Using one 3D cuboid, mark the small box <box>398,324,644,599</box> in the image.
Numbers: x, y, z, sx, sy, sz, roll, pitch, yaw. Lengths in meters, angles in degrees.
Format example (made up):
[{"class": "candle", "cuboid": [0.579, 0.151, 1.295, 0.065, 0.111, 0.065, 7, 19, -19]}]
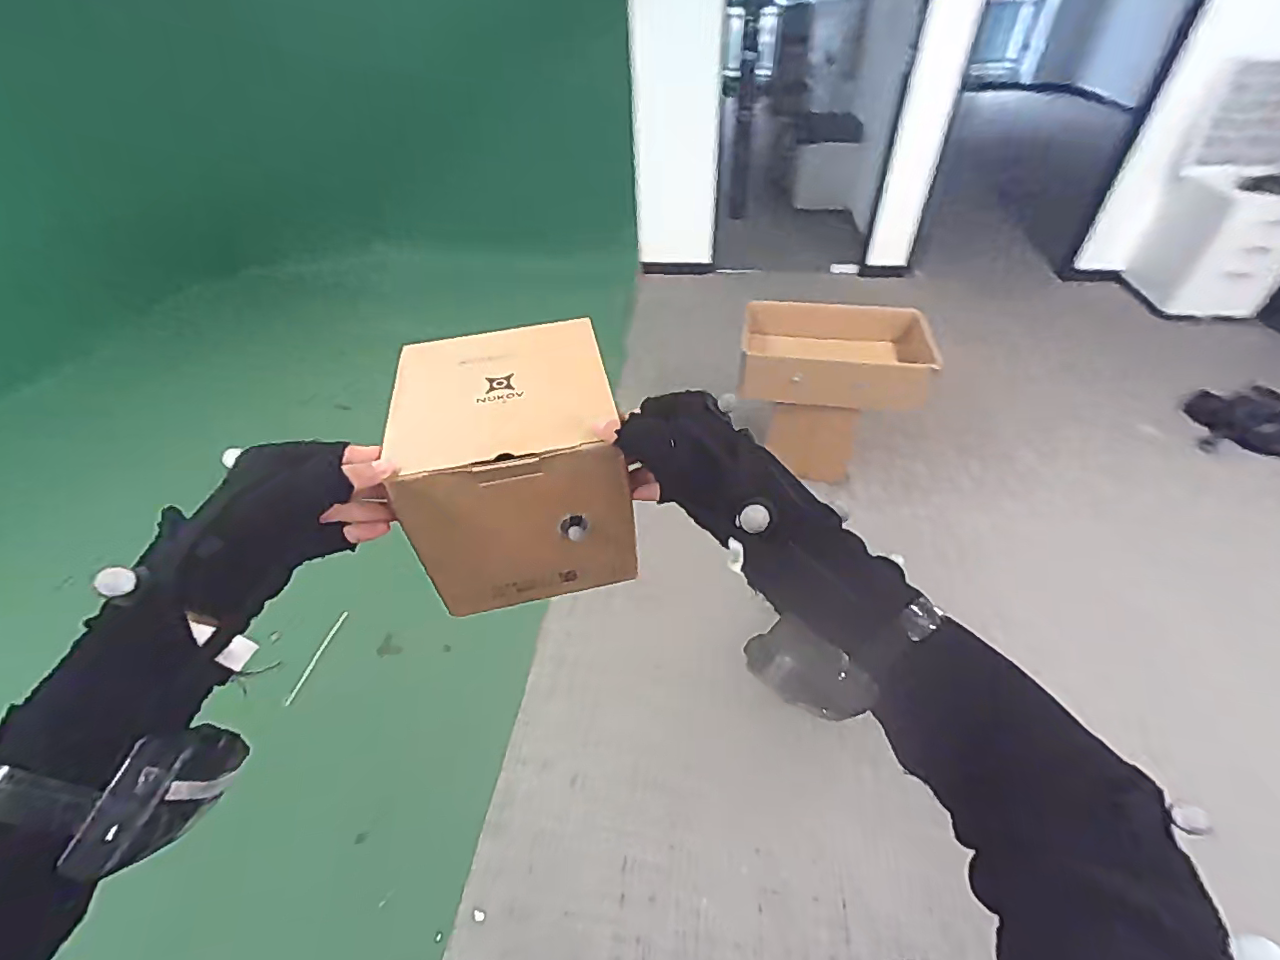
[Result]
[{"class": "small box", "cuboid": [-0.093, -0.013, 0.480, 0.168, 0.176, 0.179, -10, 43, -7]}]
